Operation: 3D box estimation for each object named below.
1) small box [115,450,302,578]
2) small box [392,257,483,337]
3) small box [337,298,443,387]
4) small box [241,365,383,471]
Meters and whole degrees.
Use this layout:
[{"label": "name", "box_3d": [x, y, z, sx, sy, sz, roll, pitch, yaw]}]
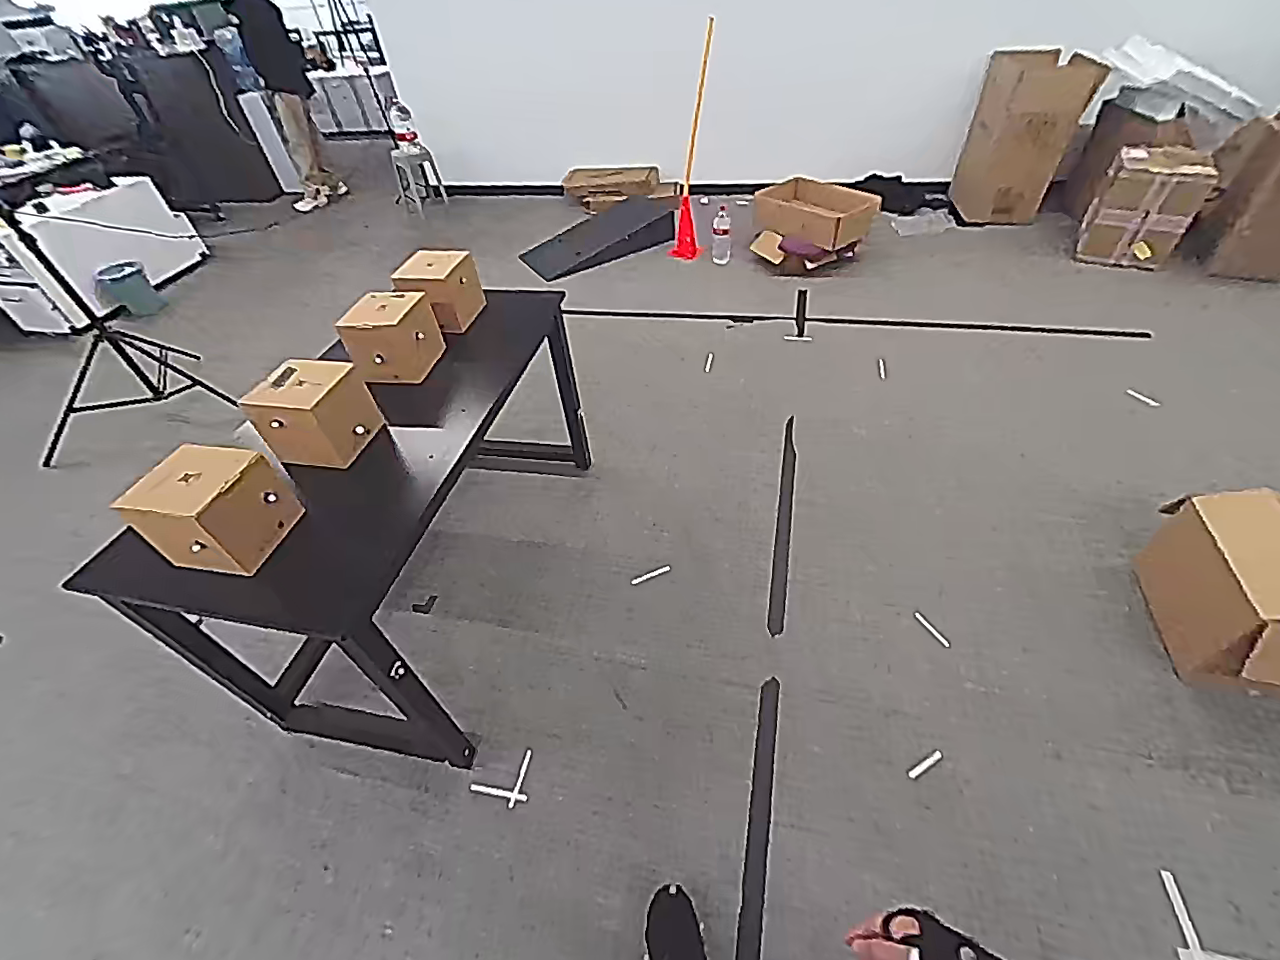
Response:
[{"label": "small box", "box_3d": [-0.785, 0.065, 1.009, 0.179, 0.176, 0.168, 4, 44, 11]}, {"label": "small box", "box_3d": [-0.583, -0.536, 1.586, 0.168, 0.176, 0.179, 6, 46, 11]}, {"label": "small box", "box_3d": [-0.642, -0.359, 1.417, 0.168, 0.176, 0.179, 3, 46, 9]}, {"label": "small box", "box_3d": [-0.715, -0.137, 1.202, 0.179, 0.176, 0.168, 6, 46, 11]}]
